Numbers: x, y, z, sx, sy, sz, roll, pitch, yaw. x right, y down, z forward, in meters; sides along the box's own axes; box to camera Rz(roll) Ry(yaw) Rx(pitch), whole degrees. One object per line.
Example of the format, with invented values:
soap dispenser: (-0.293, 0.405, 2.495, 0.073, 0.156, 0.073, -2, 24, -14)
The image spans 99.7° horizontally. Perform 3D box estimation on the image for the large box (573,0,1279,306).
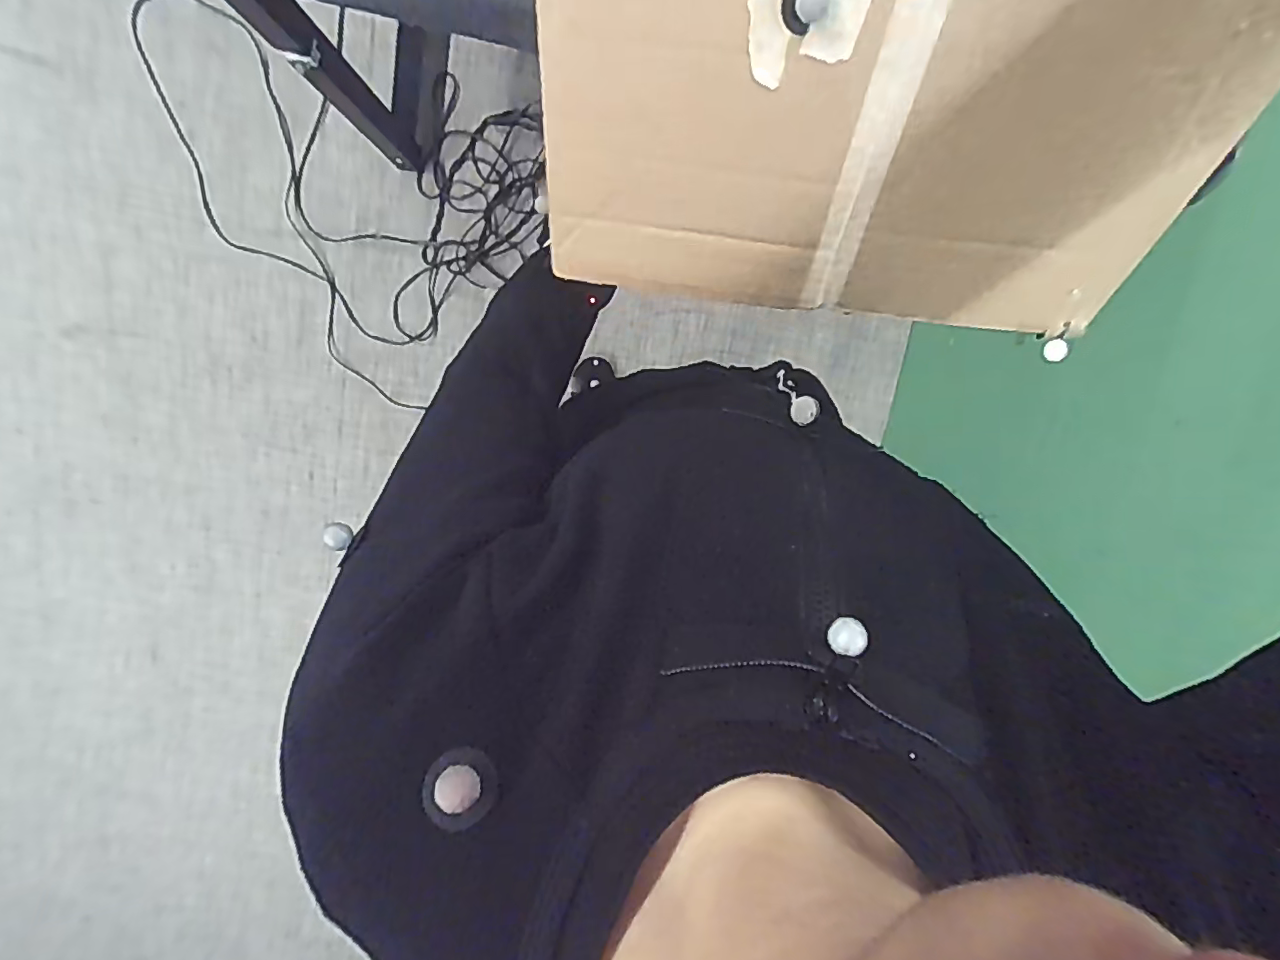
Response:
large box: (0.138, -0.361, 0.278, 0.320, 0.320, 0.408, 6, 141, 2)
